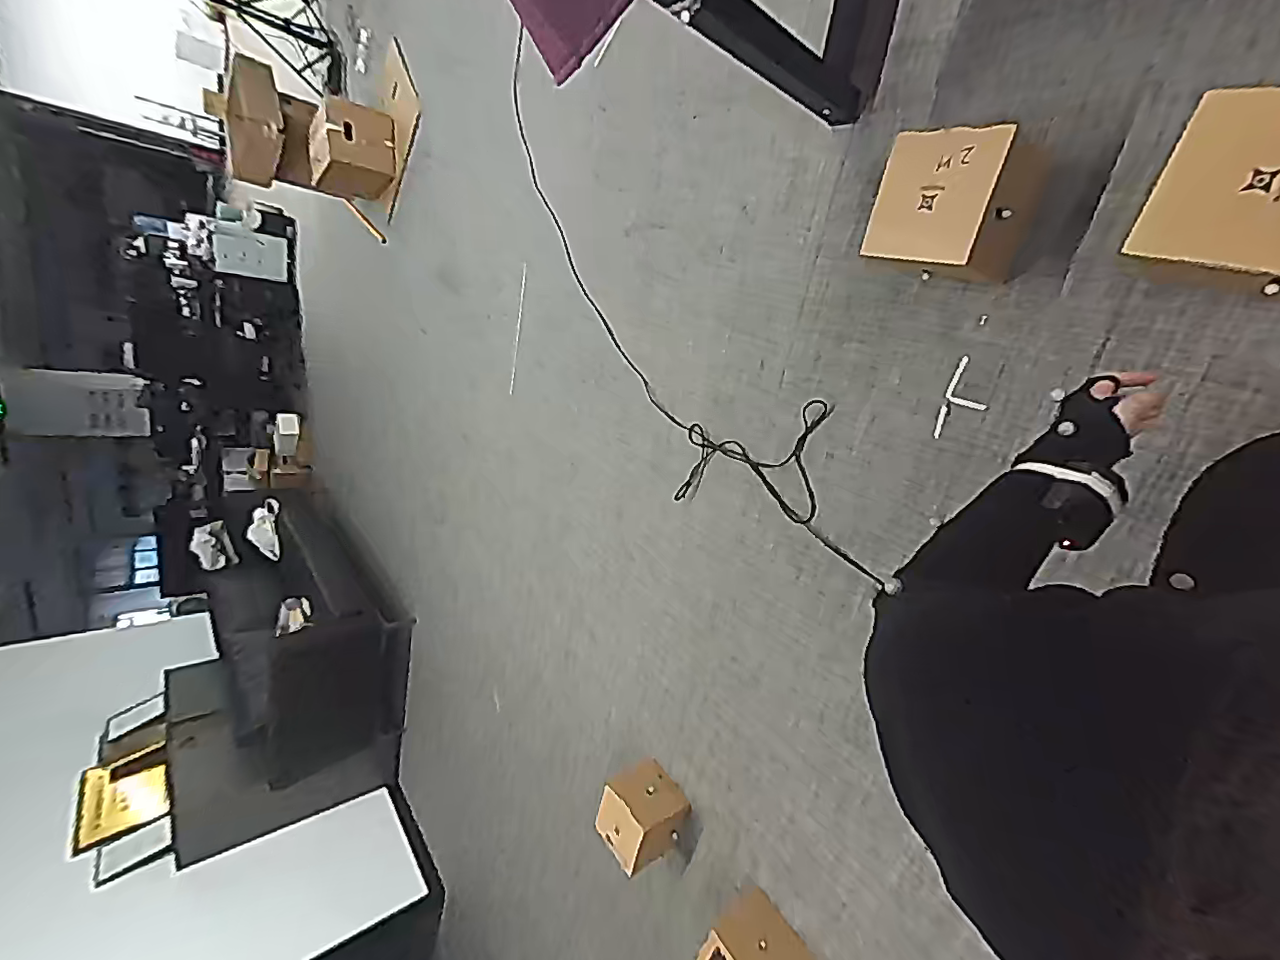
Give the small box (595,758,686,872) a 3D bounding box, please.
[{"bbox_3d":[0.003,0.912,1.492,0.168,0.176,0.179,34,117,43],"label":"small box"}]
